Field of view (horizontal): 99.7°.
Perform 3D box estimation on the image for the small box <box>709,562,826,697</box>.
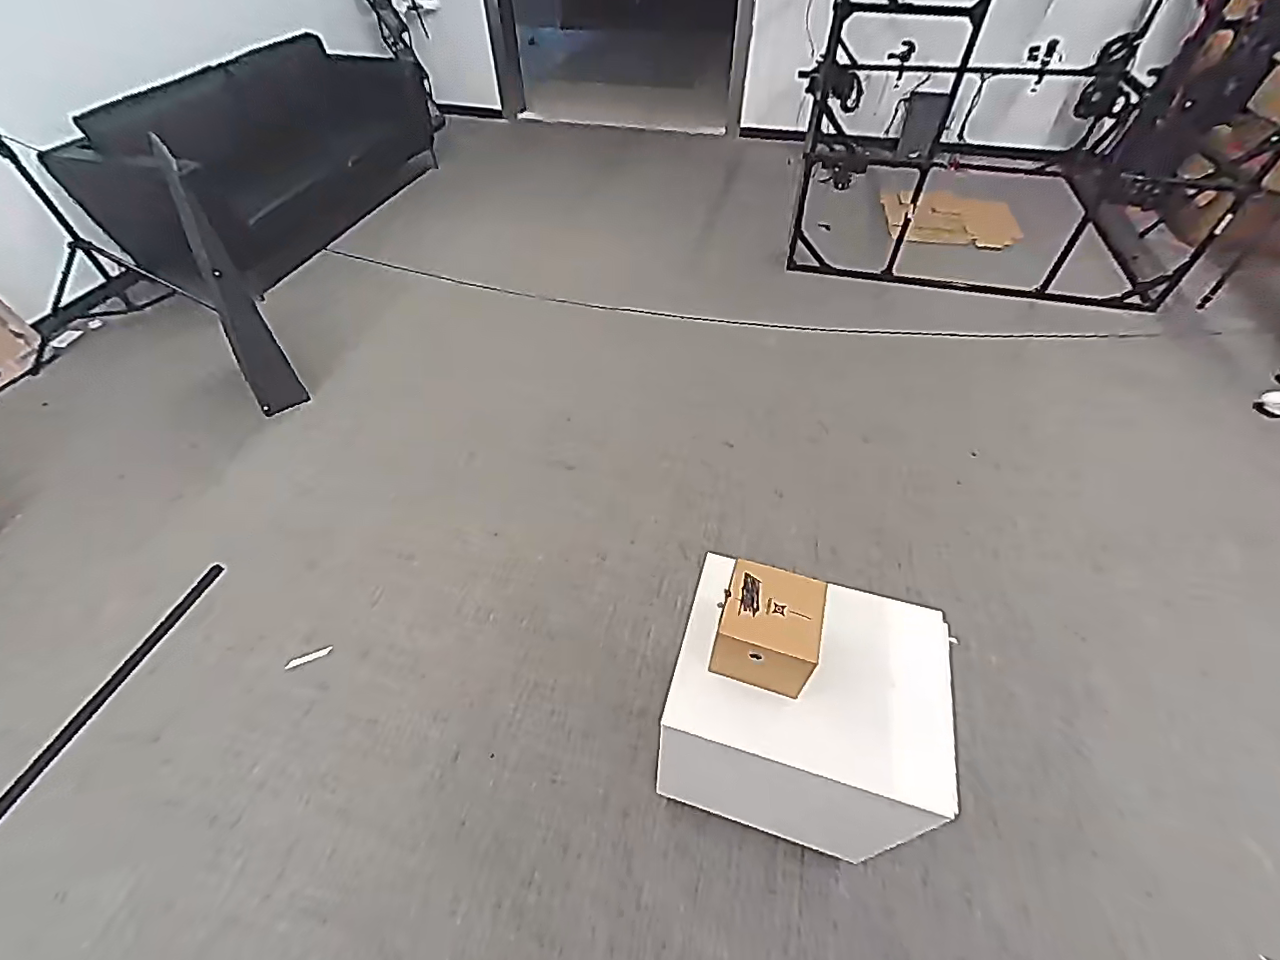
[{"bbox_3d":[0.237,0.288,1.027,0.179,0.176,0.168,15,50,12],"label":"small box"}]
